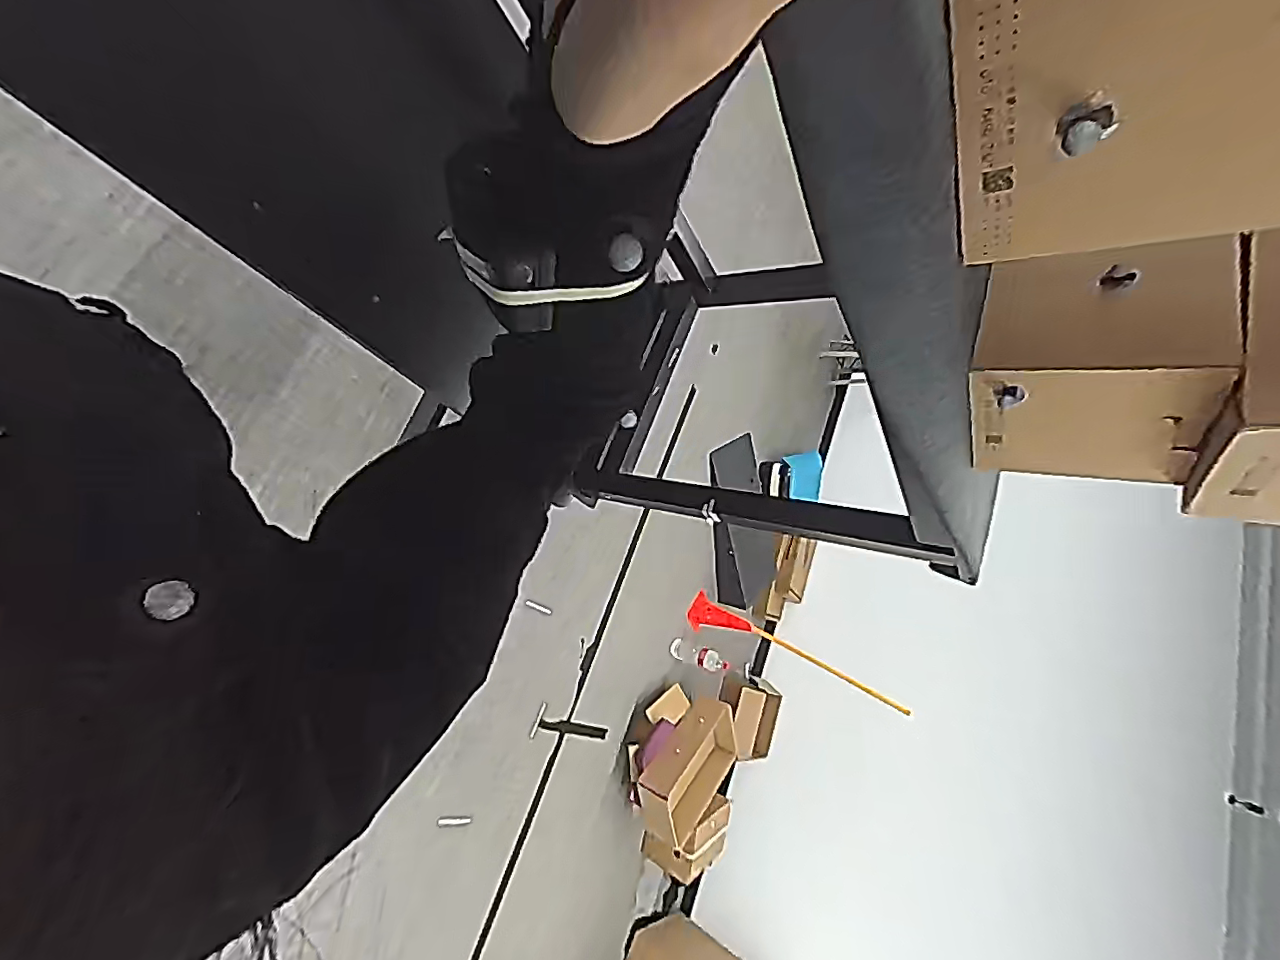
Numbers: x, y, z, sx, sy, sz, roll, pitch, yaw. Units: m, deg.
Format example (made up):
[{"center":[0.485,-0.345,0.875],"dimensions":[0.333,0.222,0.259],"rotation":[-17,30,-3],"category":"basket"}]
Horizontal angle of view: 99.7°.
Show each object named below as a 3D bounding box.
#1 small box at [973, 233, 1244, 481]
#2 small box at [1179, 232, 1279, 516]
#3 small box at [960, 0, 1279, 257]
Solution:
[{"center":[0.422,-0.120,0.512],"dimensions":[0.168,0.176,0.179],"rotation":[48,58,-47],"category":"small box"},{"center":[0.540,-0.073,0.407],"dimensions":[0.168,0.176,0.179],"rotation":[40,64,-51],"category":"small box"},{"center":[0.276,-0.250,0.285],"dimensions":[0.168,0.176,0.179],"rotation":[44,60,-48],"category":"small box"}]
